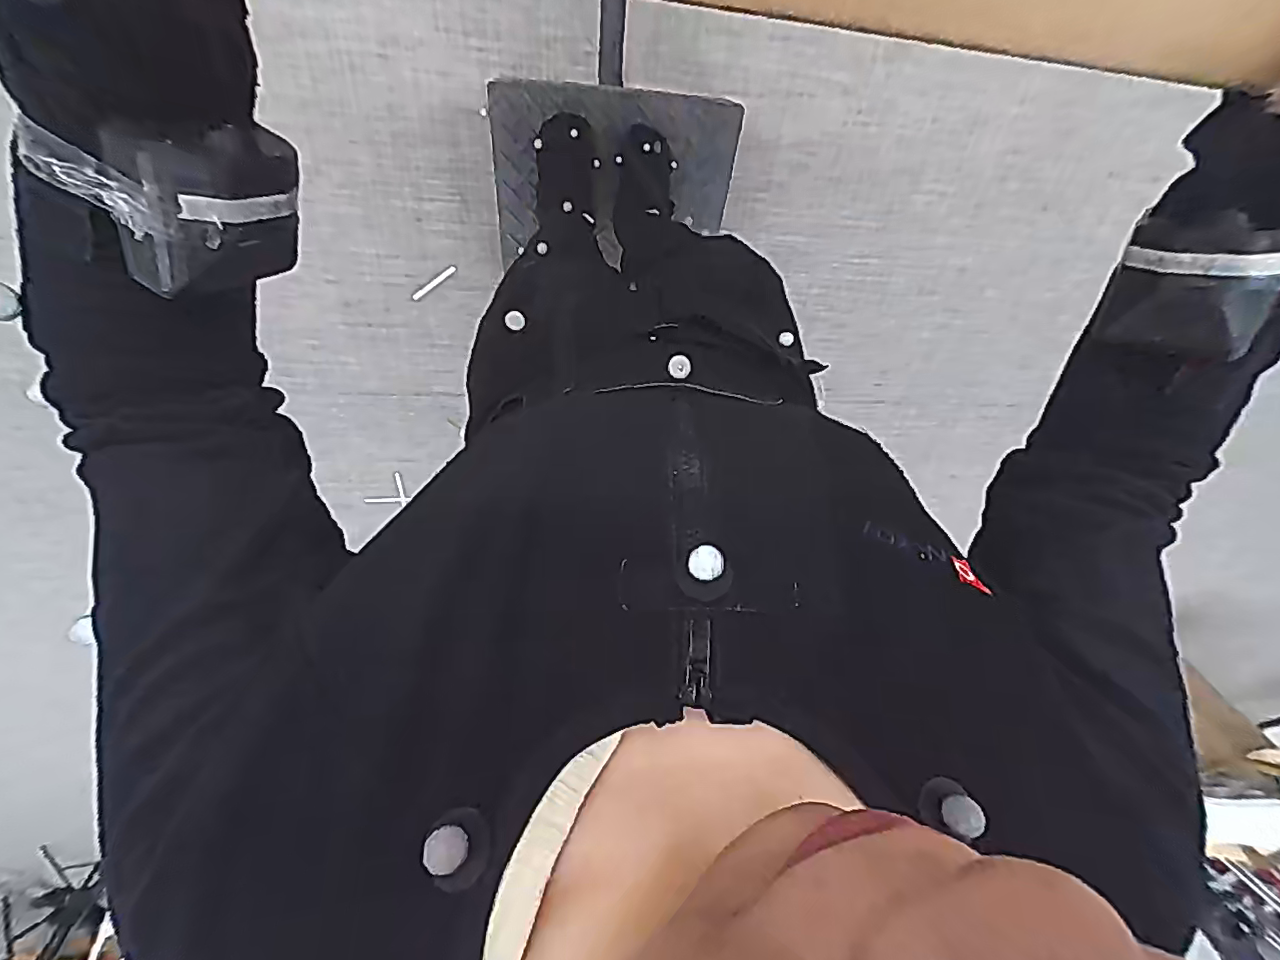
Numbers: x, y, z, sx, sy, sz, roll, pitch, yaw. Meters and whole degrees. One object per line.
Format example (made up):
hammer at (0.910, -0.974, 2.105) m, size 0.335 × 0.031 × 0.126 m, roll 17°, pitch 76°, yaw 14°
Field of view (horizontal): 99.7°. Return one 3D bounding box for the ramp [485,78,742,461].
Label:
ramp at (-0.090, -0.398, 1.376) m, size 0.509 × 0.206 × 0.991 m, roll -1°, pitch 128°, yaw -7°
